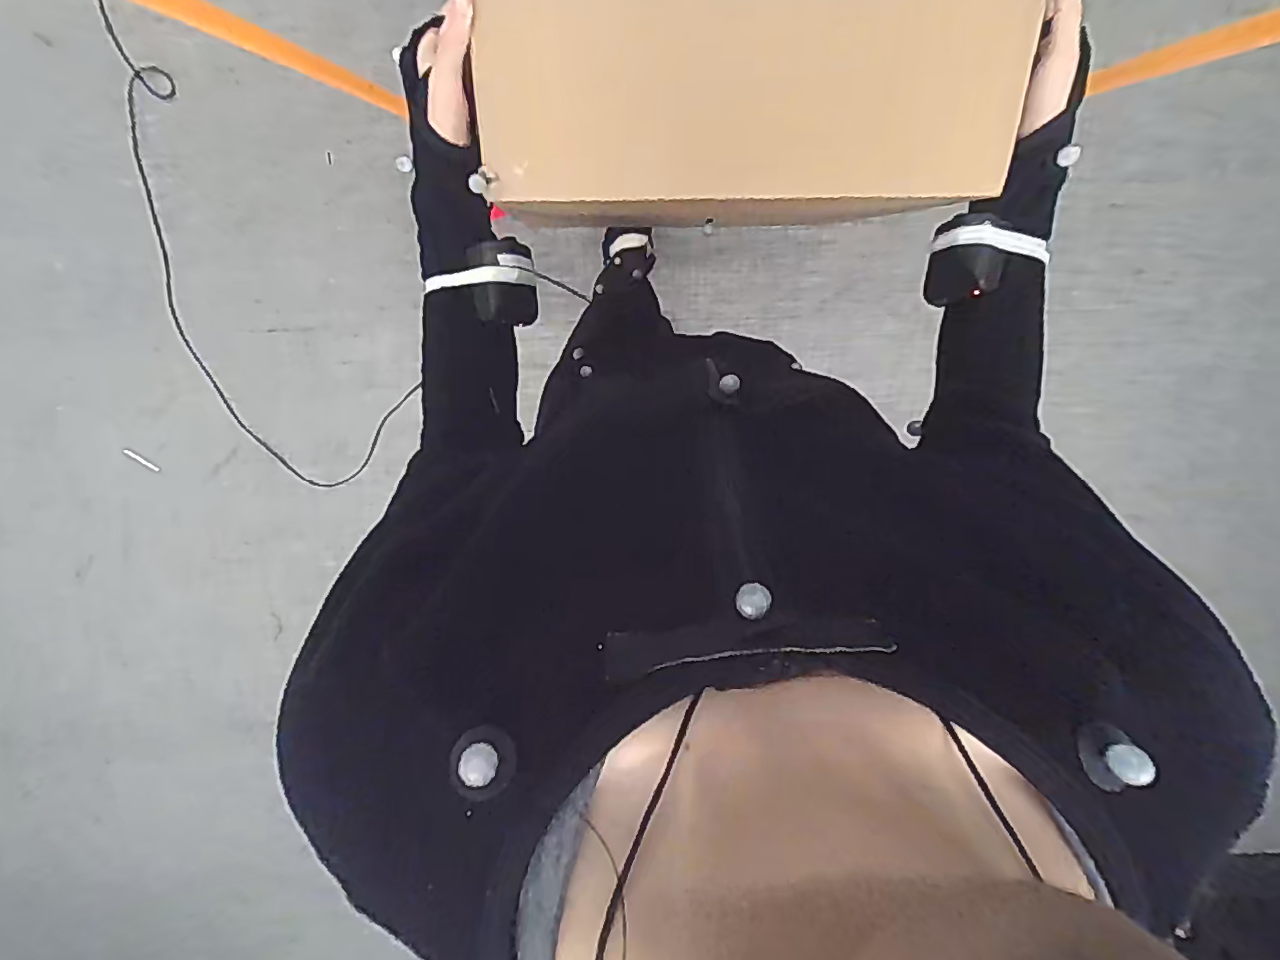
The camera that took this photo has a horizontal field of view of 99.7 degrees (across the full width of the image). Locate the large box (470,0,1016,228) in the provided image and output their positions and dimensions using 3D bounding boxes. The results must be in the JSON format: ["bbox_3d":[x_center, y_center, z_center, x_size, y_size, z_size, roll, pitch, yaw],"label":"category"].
[{"bbox_3d":[0.068,-0.418,0.511,0.408,0.320,0.320,-3,111,-4],"label":"large box"}]
